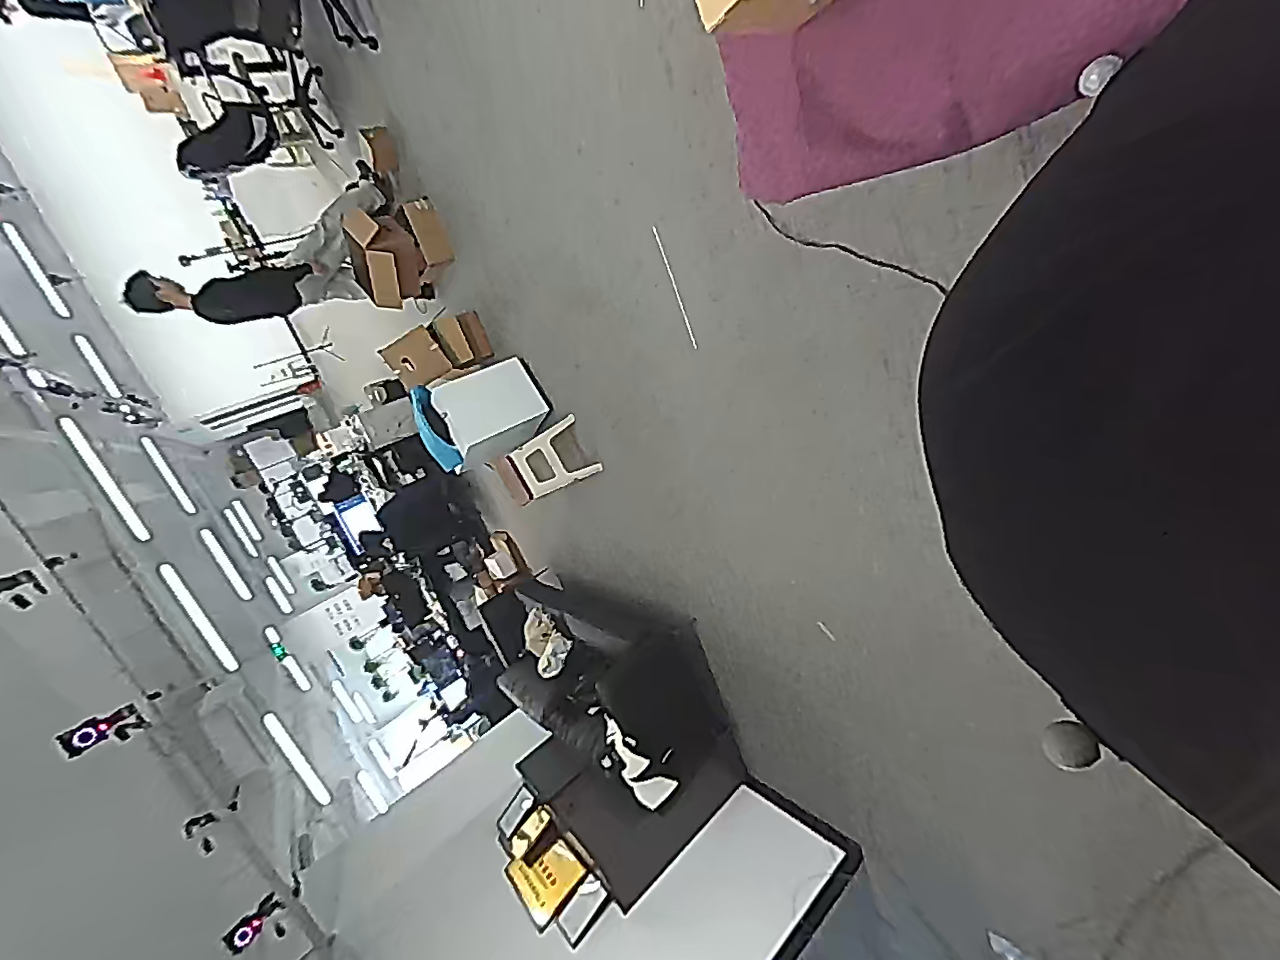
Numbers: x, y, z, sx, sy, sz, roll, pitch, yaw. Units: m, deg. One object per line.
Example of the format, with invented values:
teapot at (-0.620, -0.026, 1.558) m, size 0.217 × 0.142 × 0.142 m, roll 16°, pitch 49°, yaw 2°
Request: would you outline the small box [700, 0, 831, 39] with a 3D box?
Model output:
small box at (0.158, -0.612, 0.567) m, size 0.168 × 0.176 × 0.179 m, roll 2°, pitch 117°, yaw 55°
